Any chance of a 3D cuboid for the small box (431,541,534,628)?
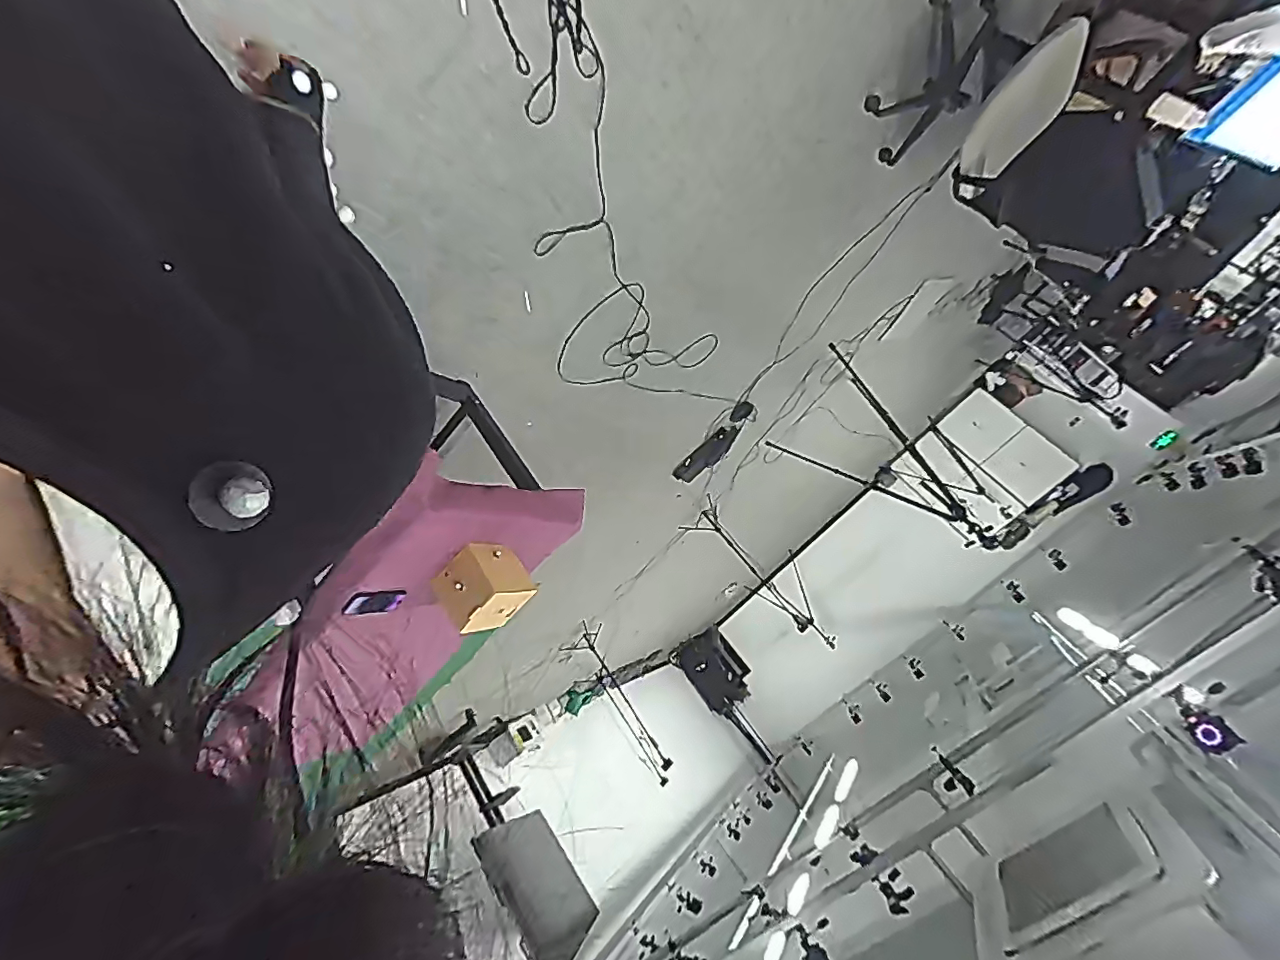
[{"bbox_3d":[-0.435,0.282,1.480,0.168,0.176,0.179,-45,155,14],"label":"small box"}]
